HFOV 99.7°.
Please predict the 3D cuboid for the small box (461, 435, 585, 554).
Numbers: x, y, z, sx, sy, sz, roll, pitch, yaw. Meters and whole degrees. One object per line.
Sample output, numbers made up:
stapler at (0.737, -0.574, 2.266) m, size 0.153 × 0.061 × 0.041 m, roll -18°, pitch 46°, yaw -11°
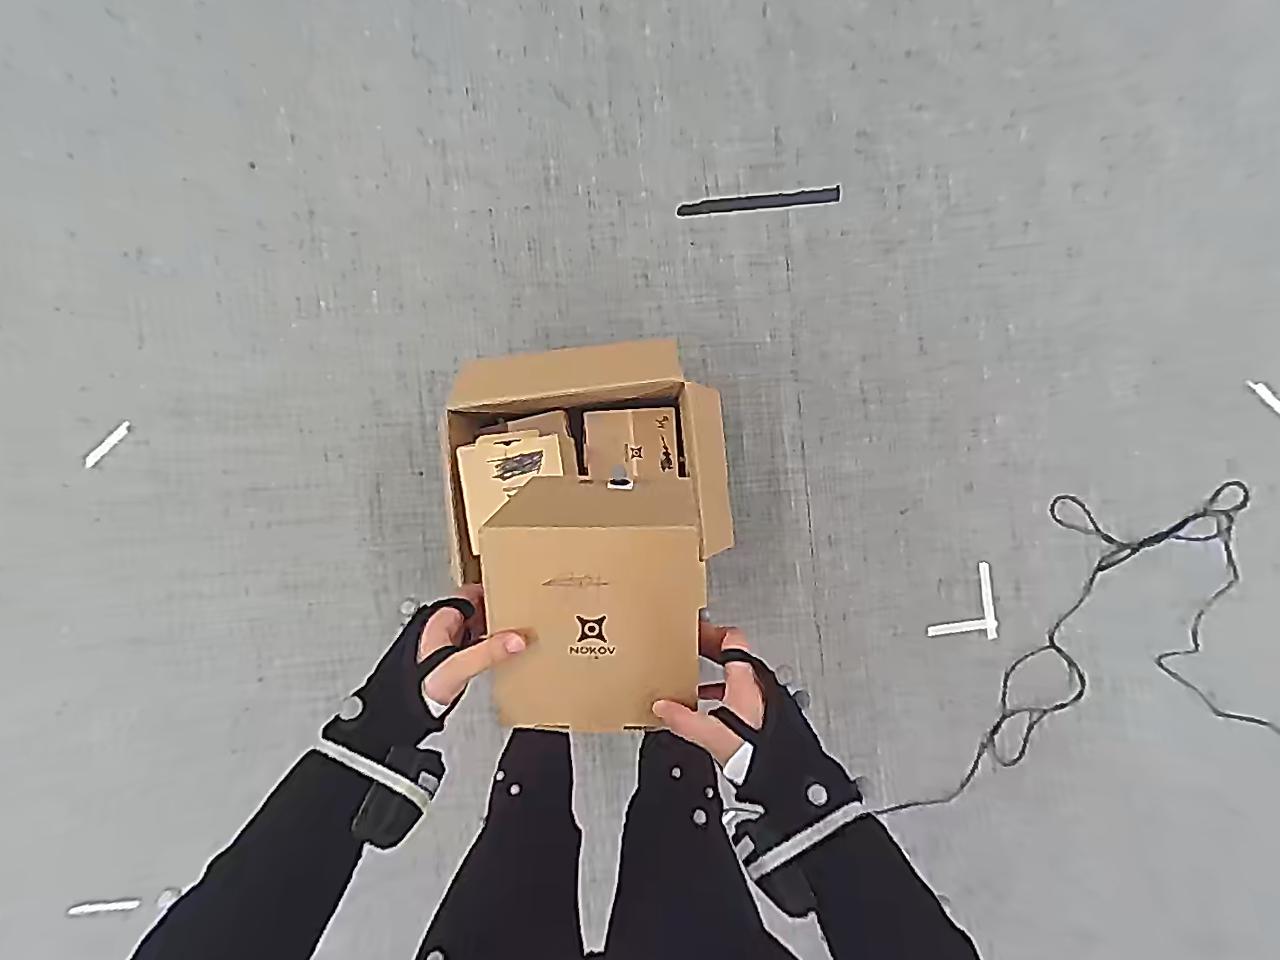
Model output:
small box at (-0.192, 0.021, 0.932) m, size 0.168 × 0.176 × 0.179 m, roll -7°, pitch 93°, yaw 2°
